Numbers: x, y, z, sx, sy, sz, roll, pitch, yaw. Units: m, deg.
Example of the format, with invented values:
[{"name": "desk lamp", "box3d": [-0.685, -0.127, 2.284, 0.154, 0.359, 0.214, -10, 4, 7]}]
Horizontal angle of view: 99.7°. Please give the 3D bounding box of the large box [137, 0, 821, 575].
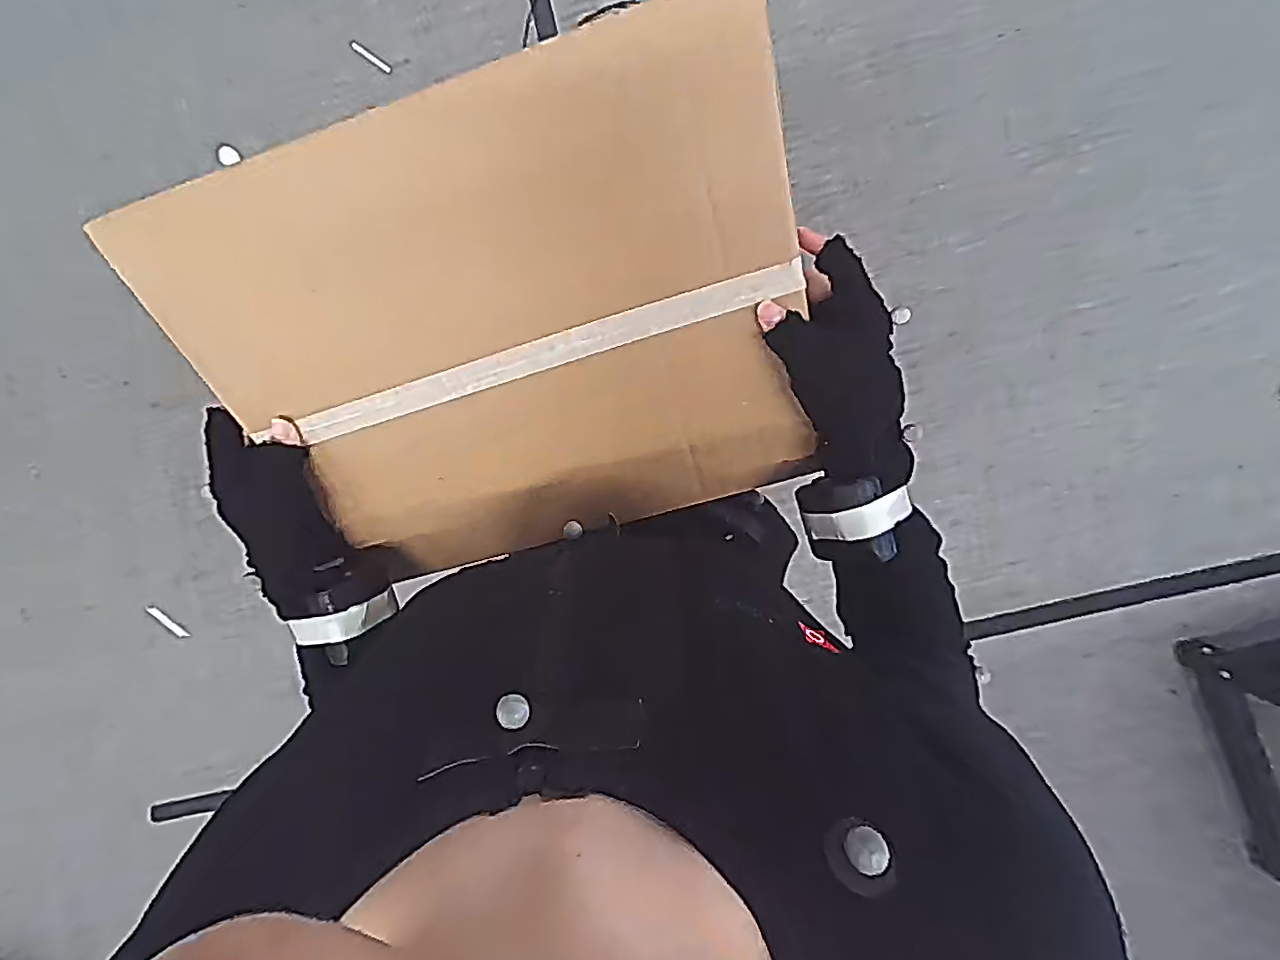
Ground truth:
[{"name": "large box", "box3d": [-0.091, -0.166, 0.511, 0.408, 0.320, 0.320, -15, 123, 8]}]
